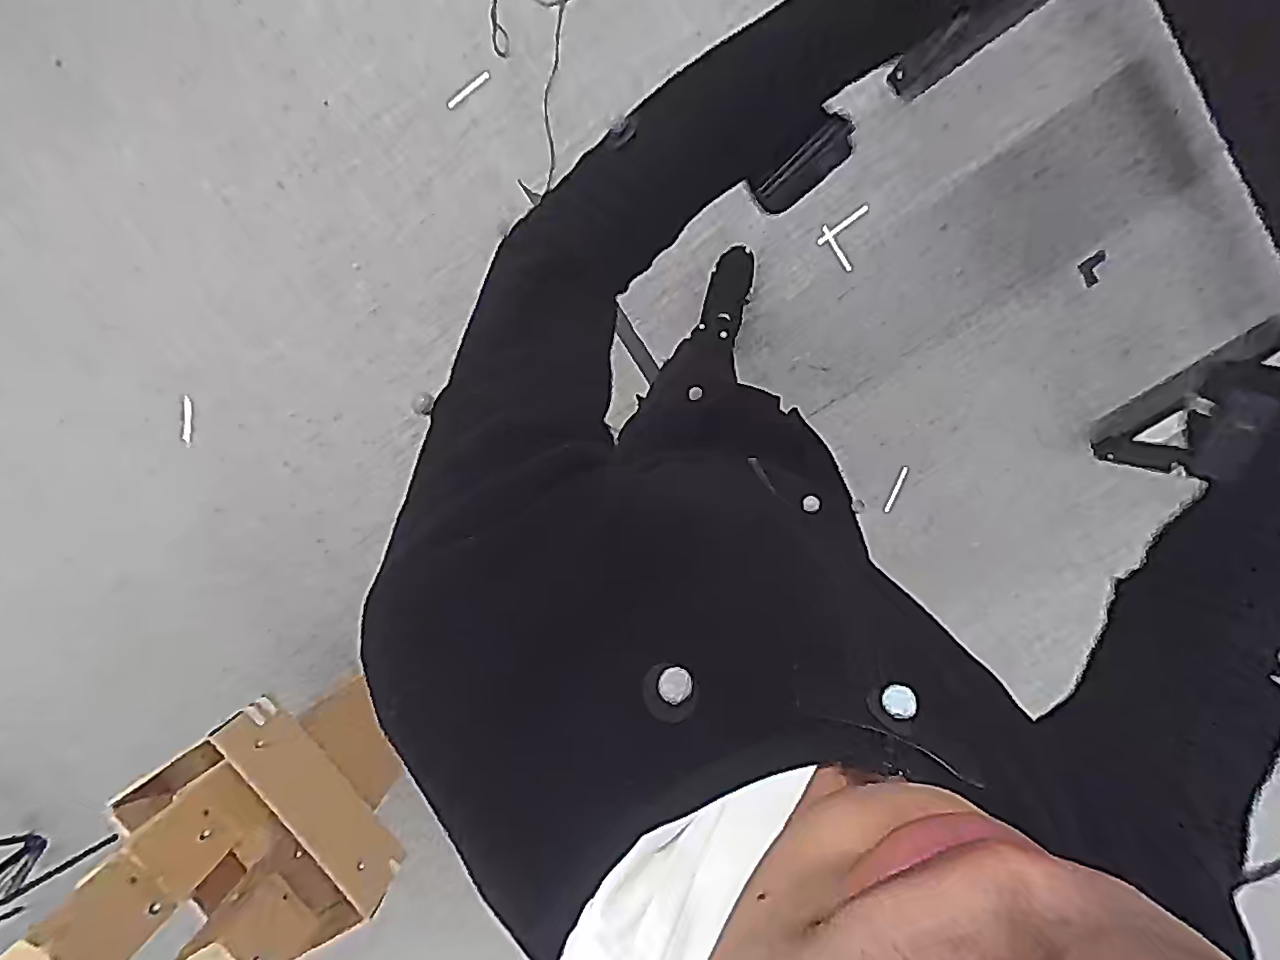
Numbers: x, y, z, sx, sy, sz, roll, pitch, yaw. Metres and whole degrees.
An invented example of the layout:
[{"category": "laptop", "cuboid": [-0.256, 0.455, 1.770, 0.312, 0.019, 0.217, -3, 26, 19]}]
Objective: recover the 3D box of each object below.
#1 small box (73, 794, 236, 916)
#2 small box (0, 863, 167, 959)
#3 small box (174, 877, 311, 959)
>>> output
[{"category": "small box", "cuboid": [-1.060, 0.849, 1.197, 0.179, 0.176, 0.168, -36, 97, 10]}, {"category": "small box", "cuboid": [-1.077, 0.894, 1.040, 0.179, 0.176, 0.168, -39, 96, 11]}, {"category": "small box", "cuboid": [-0.903, 1.064, 1.229, 0.179, 0.176, 0.168, -33, 99, 11]}]
